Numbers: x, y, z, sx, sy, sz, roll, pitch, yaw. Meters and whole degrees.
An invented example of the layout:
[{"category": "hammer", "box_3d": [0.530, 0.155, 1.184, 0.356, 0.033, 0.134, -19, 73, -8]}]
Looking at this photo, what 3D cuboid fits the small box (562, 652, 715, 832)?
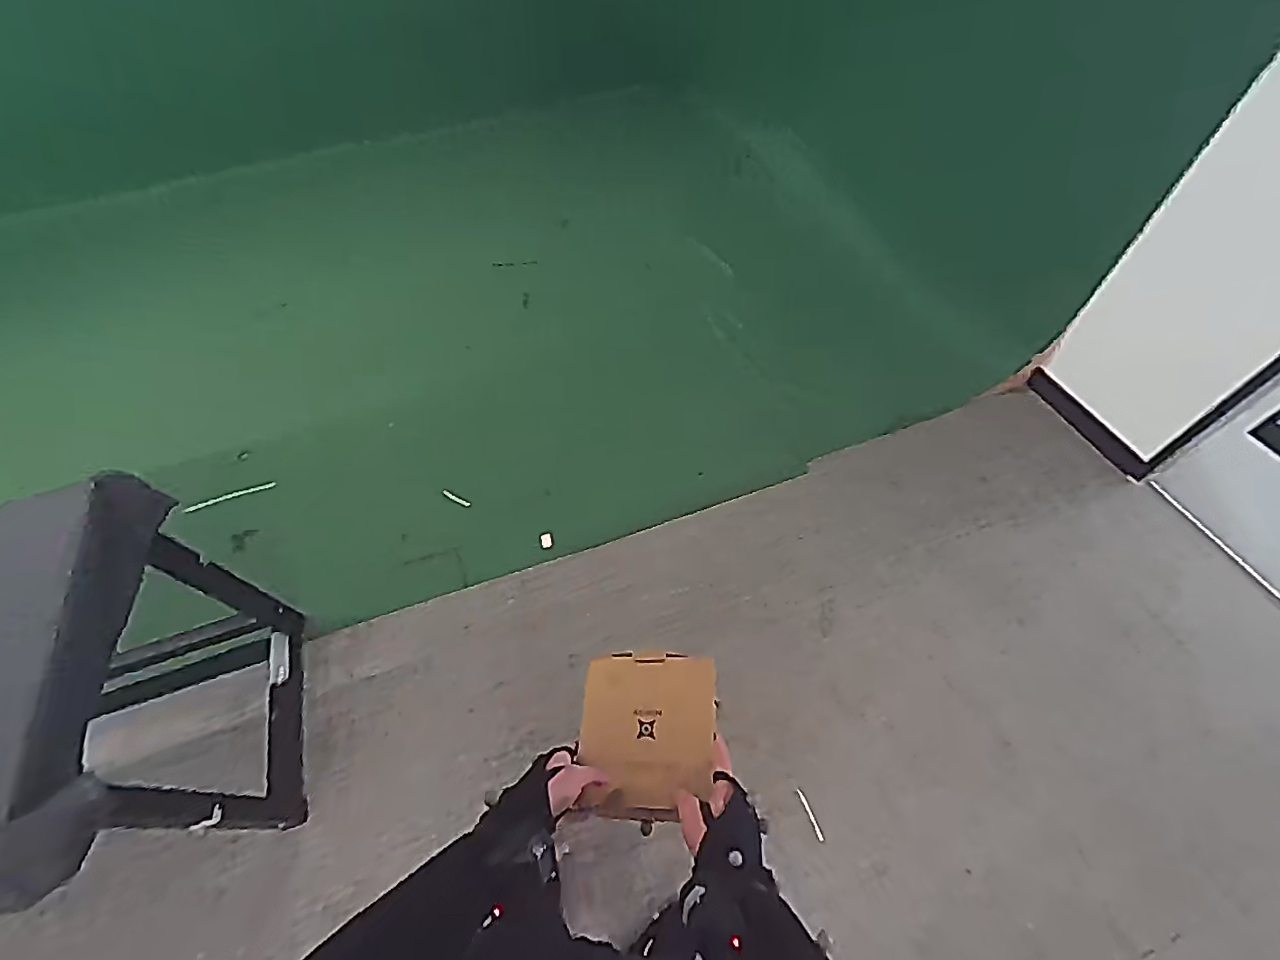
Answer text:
[{"category": "small box", "box_3d": [0.011, 0.342, 0.705, 0.168, 0.176, 0.179, -1, 53, 10]}]
